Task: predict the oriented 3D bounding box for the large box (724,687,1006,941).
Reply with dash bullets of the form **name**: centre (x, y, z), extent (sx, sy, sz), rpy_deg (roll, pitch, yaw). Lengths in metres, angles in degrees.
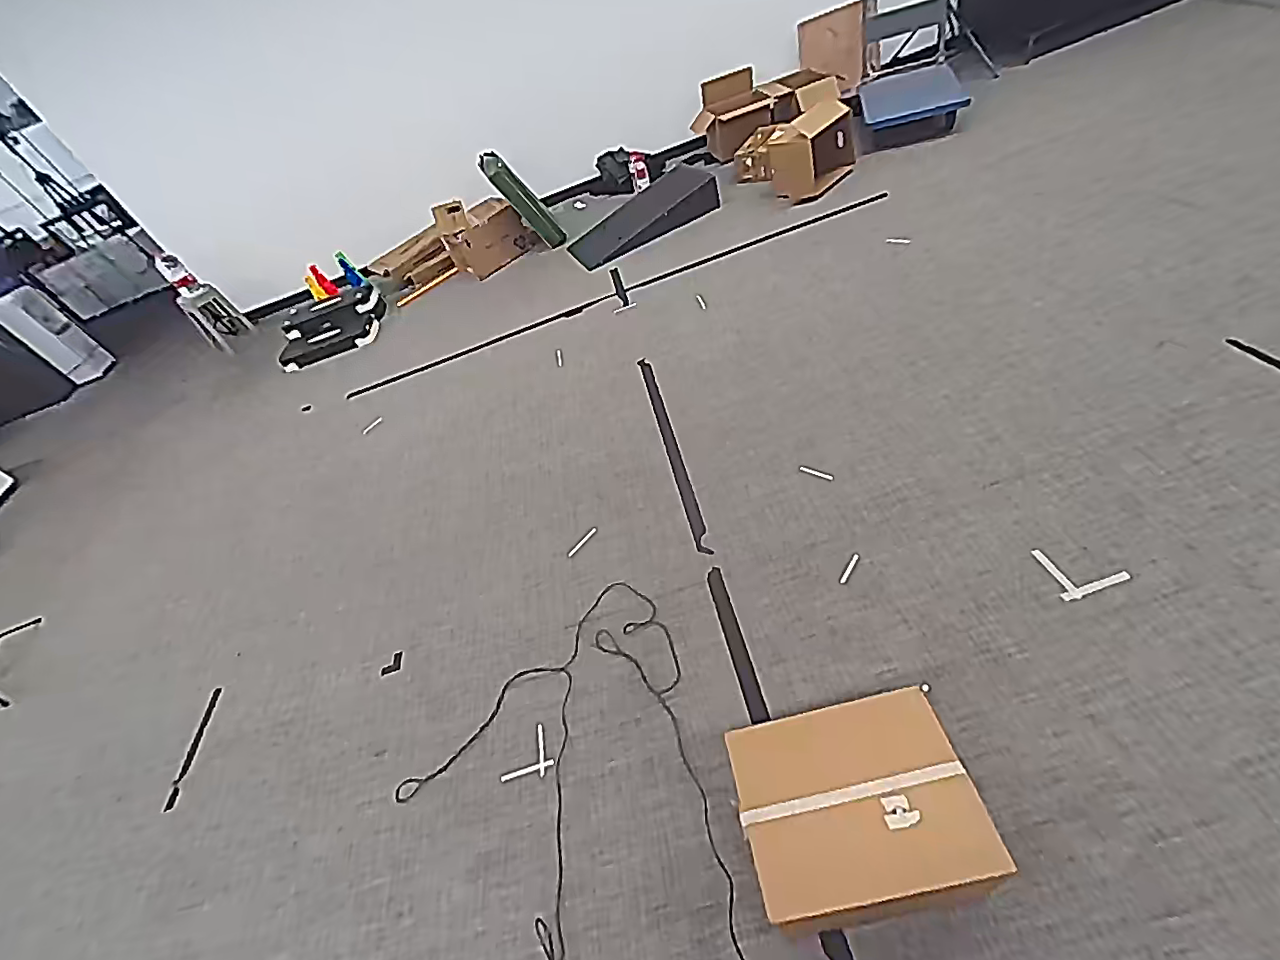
- **large box**: centre (0.420, 0.677, 1.091), extent (0.408, 0.320, 0.320), rpy_deg (-17, 44, 5)
